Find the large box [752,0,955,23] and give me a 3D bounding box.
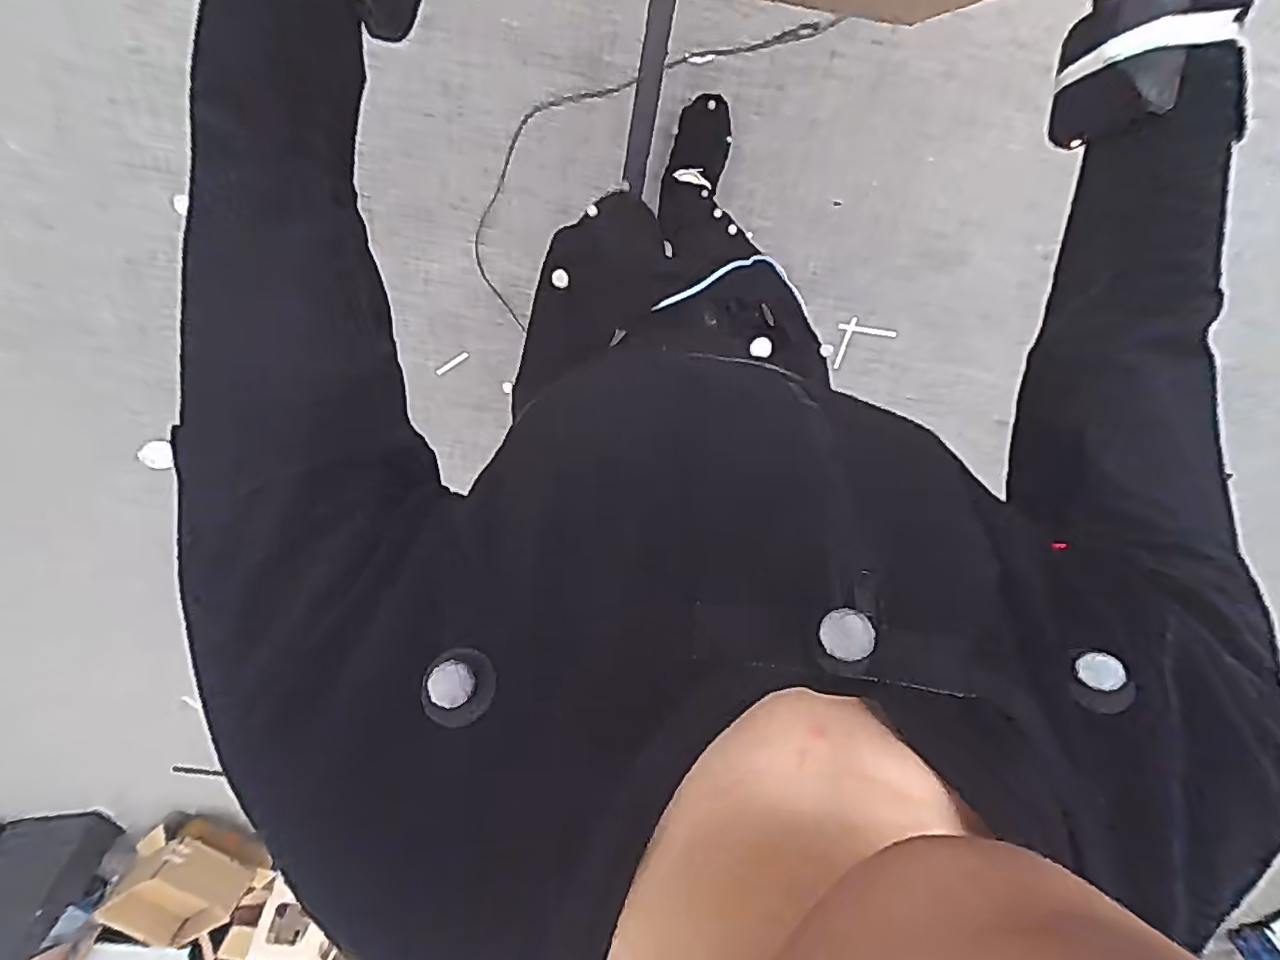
[{"bbox_3d":[0.102,-0.554,0.363,0.408,0.320,0.320,7,125,-4],"label":"large box"}]
